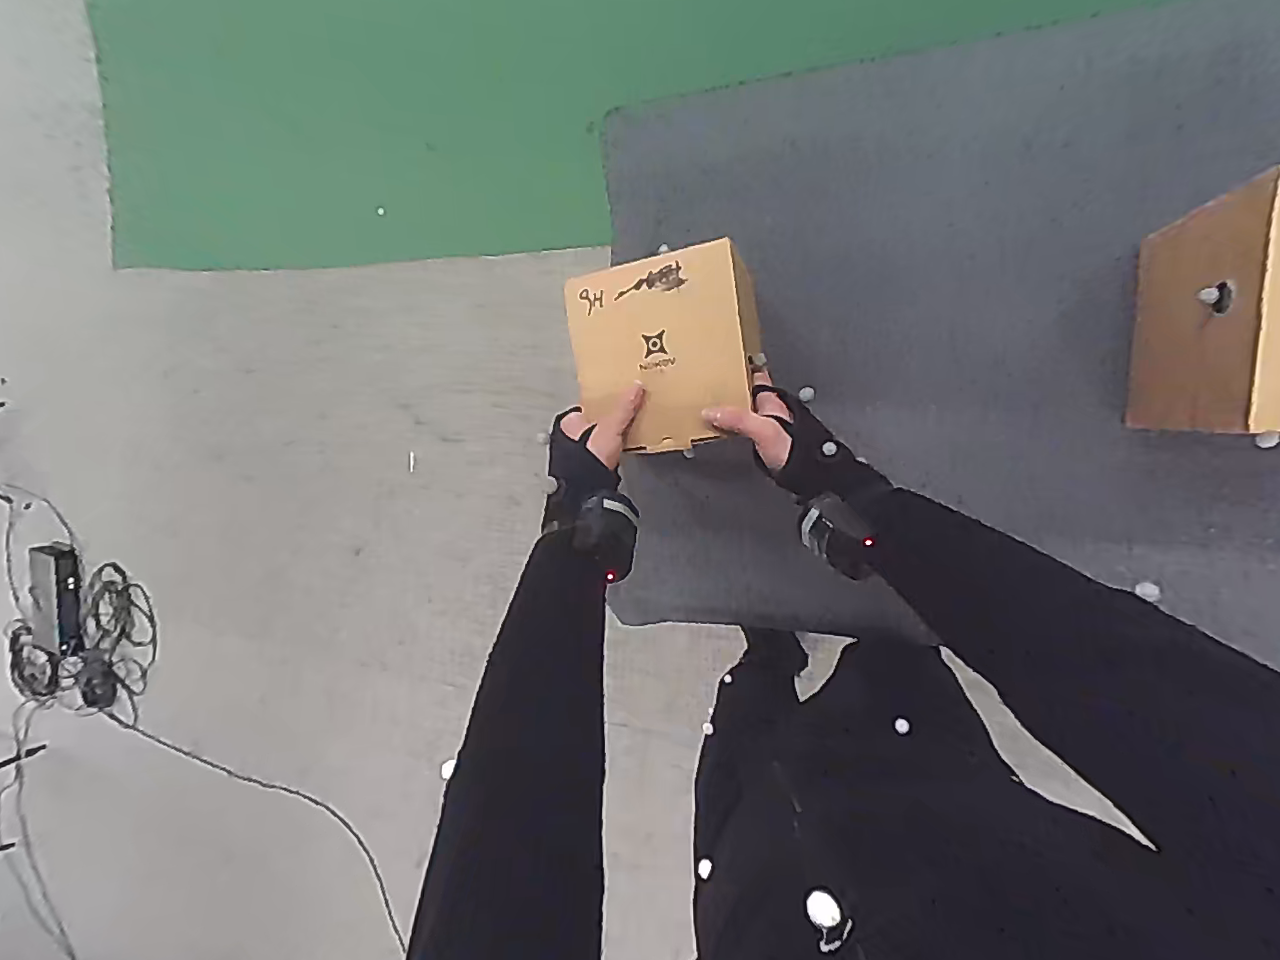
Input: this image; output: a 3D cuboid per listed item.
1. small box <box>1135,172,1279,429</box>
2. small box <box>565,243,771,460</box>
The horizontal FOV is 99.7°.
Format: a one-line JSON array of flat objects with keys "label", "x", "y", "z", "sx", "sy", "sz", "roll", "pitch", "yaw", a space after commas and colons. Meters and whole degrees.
[{"label": "small box", "x": 0.518, "y": -0.128, "z": 0.406, "sx": 0.168, "sy": 0.176, "sz": 0.179, "roll": 1, "pitch": 98, "yaw": 20}, {"label": "small box", "x": 0.042, "y": -0.124, "z": 0.578, "sx": 0.168, "sy": 0.176, "sz": 0.179, "roll": -7, "pitch": 95, "yaw": 20}]
